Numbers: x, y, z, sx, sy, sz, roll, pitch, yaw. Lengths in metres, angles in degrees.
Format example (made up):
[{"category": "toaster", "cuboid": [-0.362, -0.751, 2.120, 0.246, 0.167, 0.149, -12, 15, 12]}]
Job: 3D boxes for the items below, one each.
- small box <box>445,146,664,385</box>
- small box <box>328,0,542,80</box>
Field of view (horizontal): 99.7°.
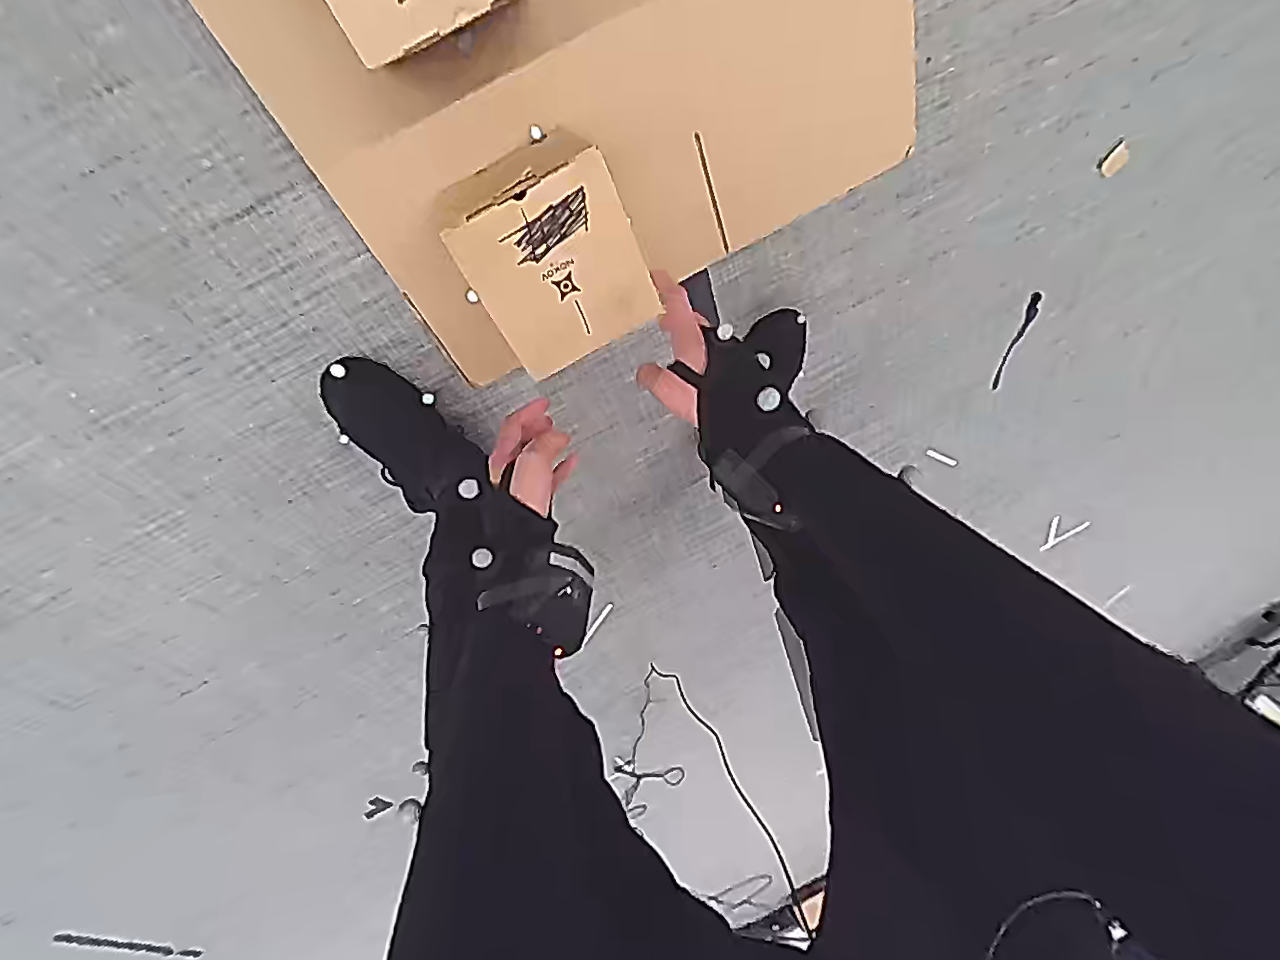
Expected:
[{"category": "small box", "cuboid": [-0.099, -0.246, 0.603, 0.168, 0.176, 0.179, -28, 133, 1]}, {"category": "small box", "cuboid": [-0.184, -0.442, 0.415, 0.168, 0.176, 0.179, -28, 132, 1]}]
